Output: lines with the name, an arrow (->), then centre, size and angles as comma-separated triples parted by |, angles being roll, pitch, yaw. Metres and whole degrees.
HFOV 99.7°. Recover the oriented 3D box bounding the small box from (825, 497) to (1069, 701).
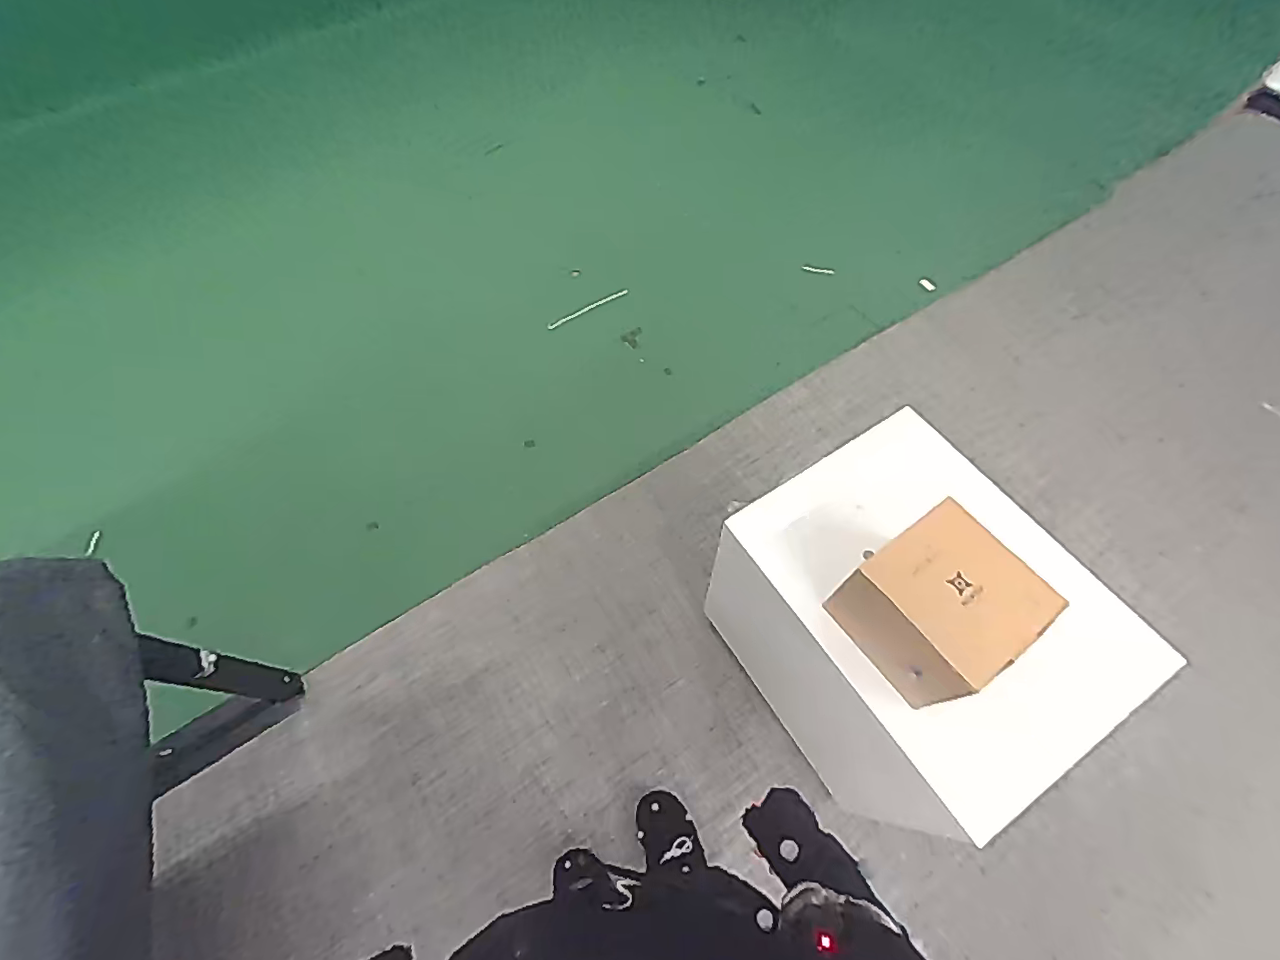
small box -> 0.370, 0.160, 0.688 | 0.168, 0.176, 0.179 | -33, 64, -15
